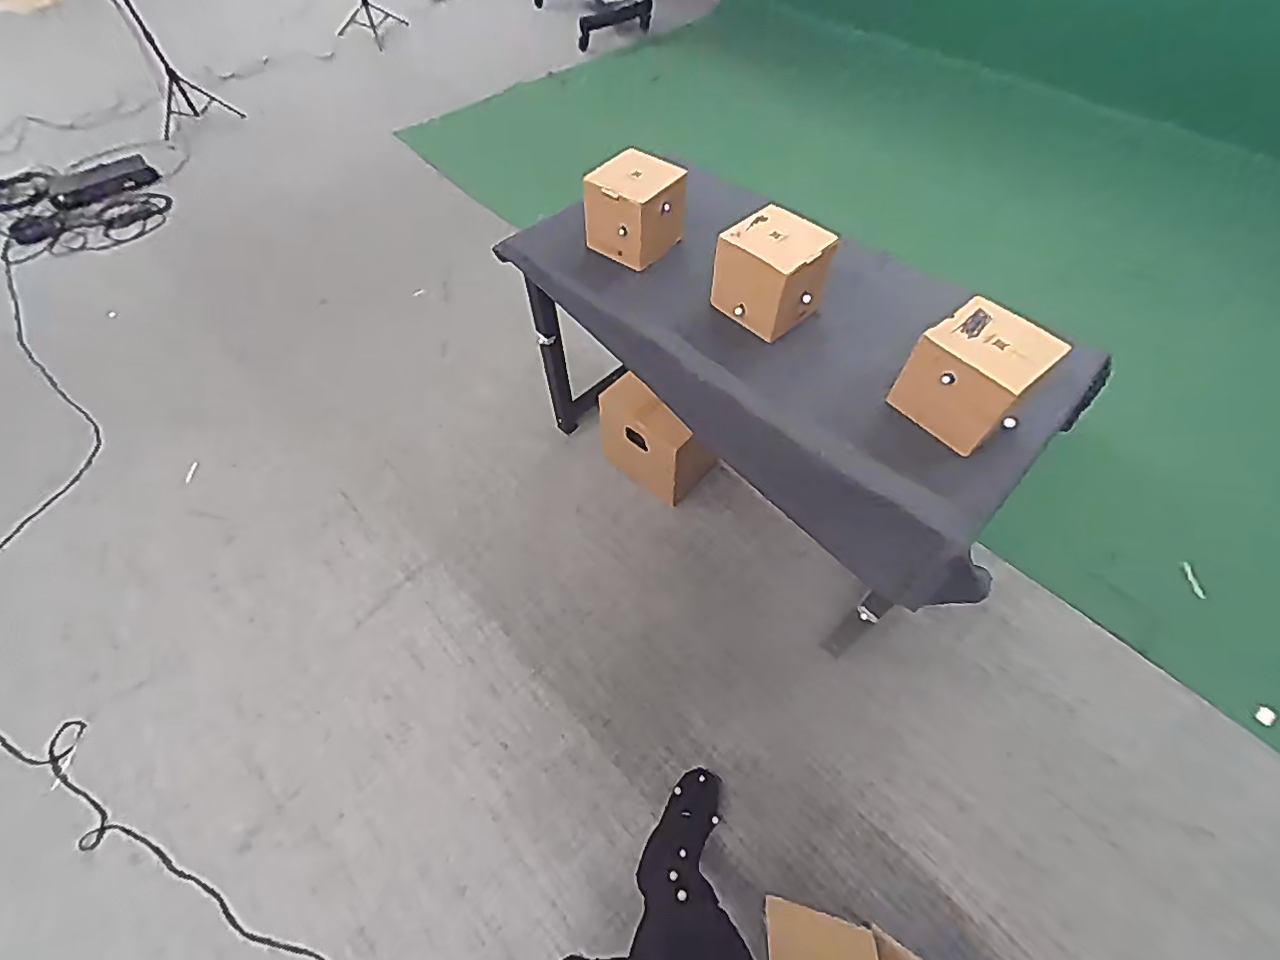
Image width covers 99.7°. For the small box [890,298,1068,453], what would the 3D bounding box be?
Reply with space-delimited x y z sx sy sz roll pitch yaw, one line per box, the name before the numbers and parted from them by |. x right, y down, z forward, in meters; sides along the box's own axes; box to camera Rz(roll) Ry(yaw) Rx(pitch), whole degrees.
small box | 0.583 -0.182 0.958 0.168 0.176 0.179 -34 63 -19

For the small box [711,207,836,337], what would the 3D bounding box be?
small box | 0.269 -0.425 1.128 0.168 0.176 0.179 -37 64 -21

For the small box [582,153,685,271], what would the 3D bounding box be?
small box | -0.013 -0.622 1.264 0.168 0.176 0.179 33 61 18
